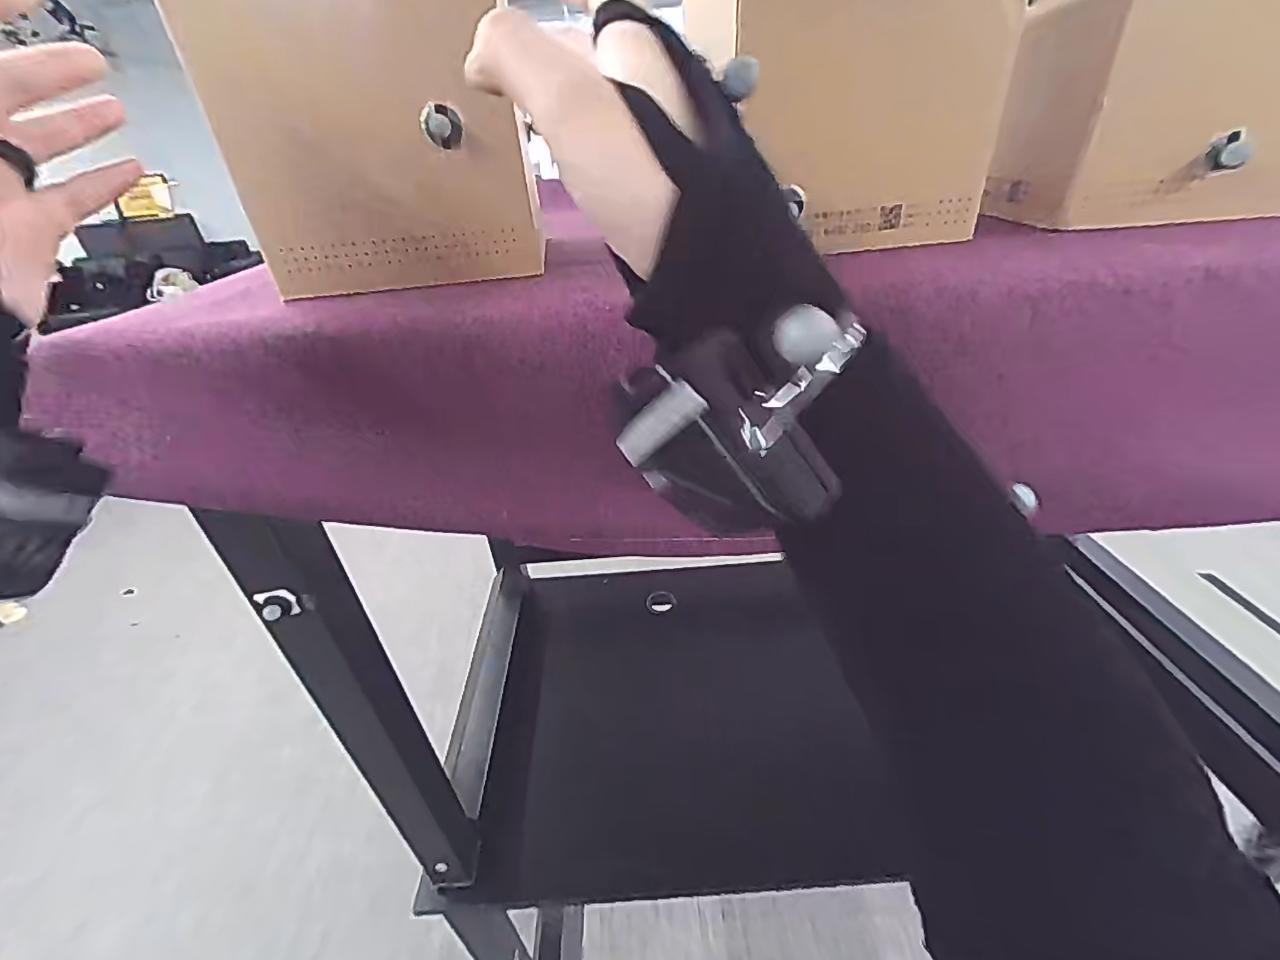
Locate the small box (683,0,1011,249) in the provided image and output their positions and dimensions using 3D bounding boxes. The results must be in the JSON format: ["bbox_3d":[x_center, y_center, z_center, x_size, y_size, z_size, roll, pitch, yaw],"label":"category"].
[{"bbox_3d":[0.127,-0.267,0.383,0.168,0.176,0.179,-6,32,-3],"label":"small box"}]

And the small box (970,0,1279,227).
[{"bbox_3d":[0.359,-0.283,0.378,0.179,0.176,0.168,-2,32,3],"label":"small box"}]

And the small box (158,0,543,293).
[{"bbox_3d":[-0.167,-0.242,0.384,0.179,0.176,0.168,-7,32,-4],"label":"small box"}]
